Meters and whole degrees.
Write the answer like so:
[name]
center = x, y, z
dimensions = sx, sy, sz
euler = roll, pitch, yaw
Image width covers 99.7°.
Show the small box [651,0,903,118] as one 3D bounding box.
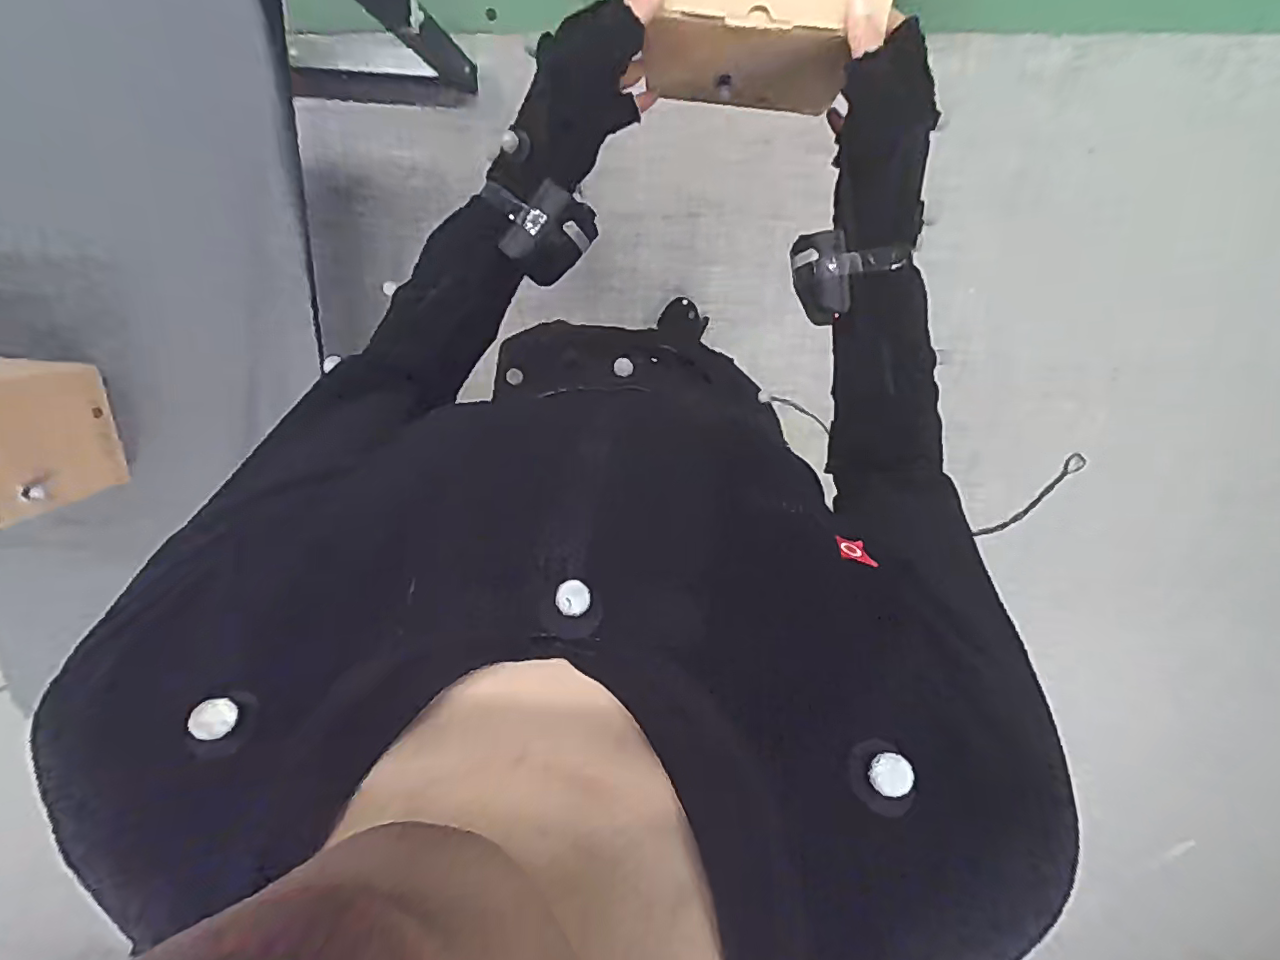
[small box]
center = 0.102, -0.404, 0.403
dimensions = 0.168, 0.176, 0.179
euler = 8, 110, 2
